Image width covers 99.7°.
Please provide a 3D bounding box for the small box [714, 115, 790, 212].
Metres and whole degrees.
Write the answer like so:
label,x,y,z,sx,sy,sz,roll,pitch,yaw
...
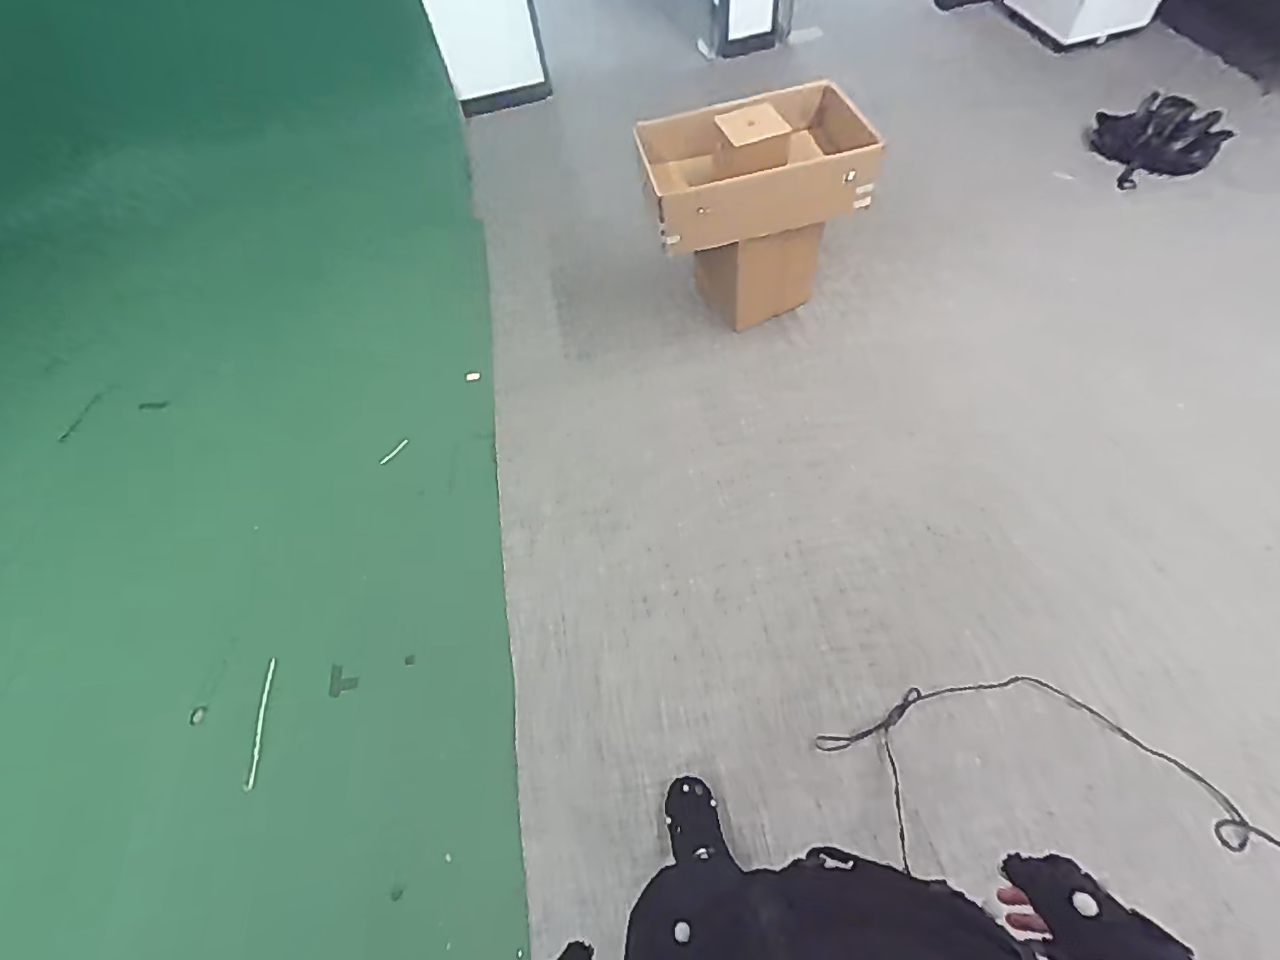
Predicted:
label,x,y,z,sx,sy,sz,roll,pitch,yaw
small box,0.318,-0.917,1.573,0.168,0.176,0.179,-17,59,-2
